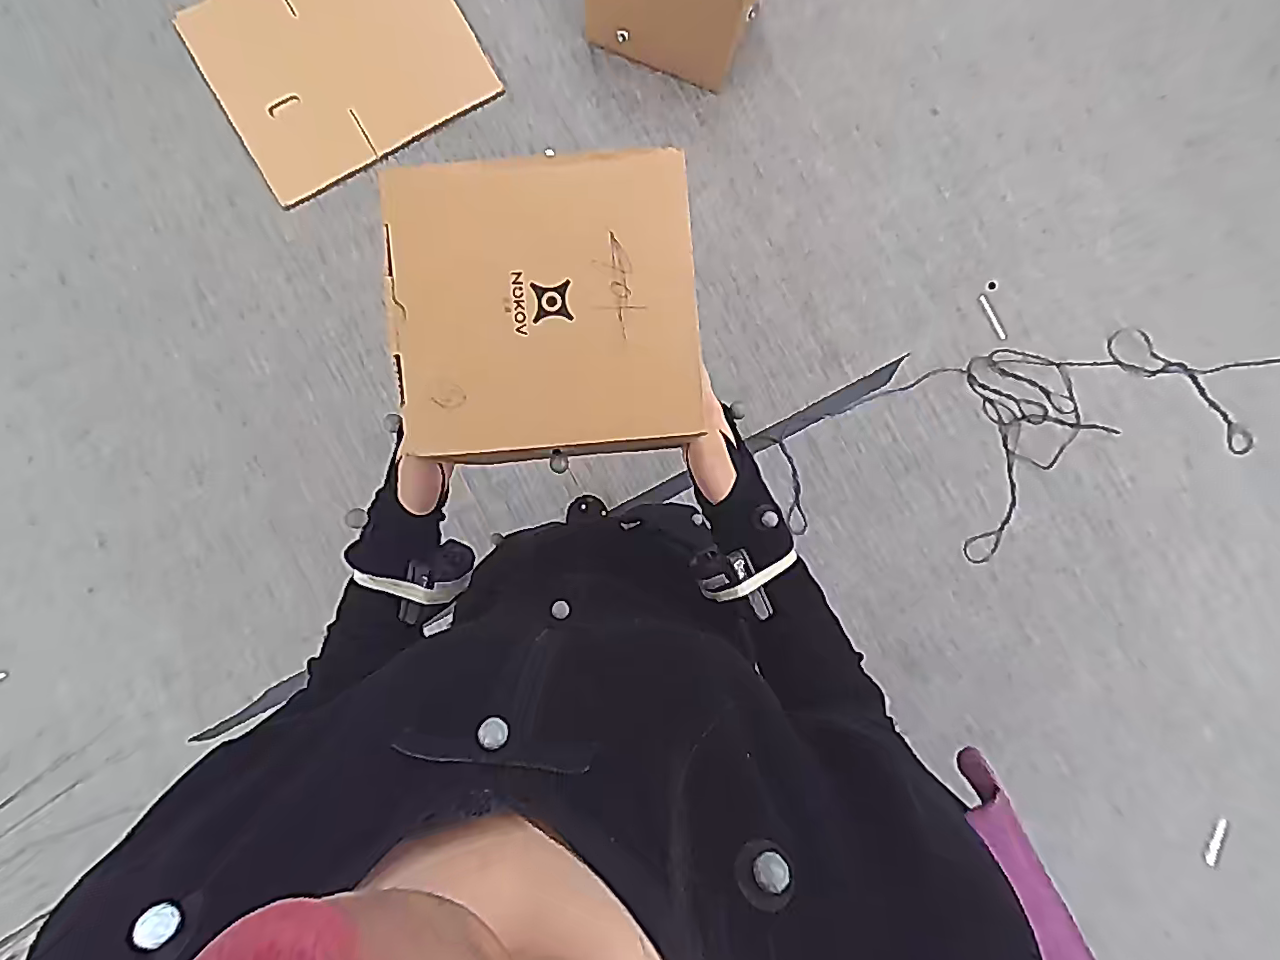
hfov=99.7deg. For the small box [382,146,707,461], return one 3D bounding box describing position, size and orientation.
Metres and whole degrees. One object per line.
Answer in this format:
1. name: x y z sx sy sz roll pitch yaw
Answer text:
1. small box: -0.055 -0.103 0.387 0.179 0.176 0.168 -5 91 -1
